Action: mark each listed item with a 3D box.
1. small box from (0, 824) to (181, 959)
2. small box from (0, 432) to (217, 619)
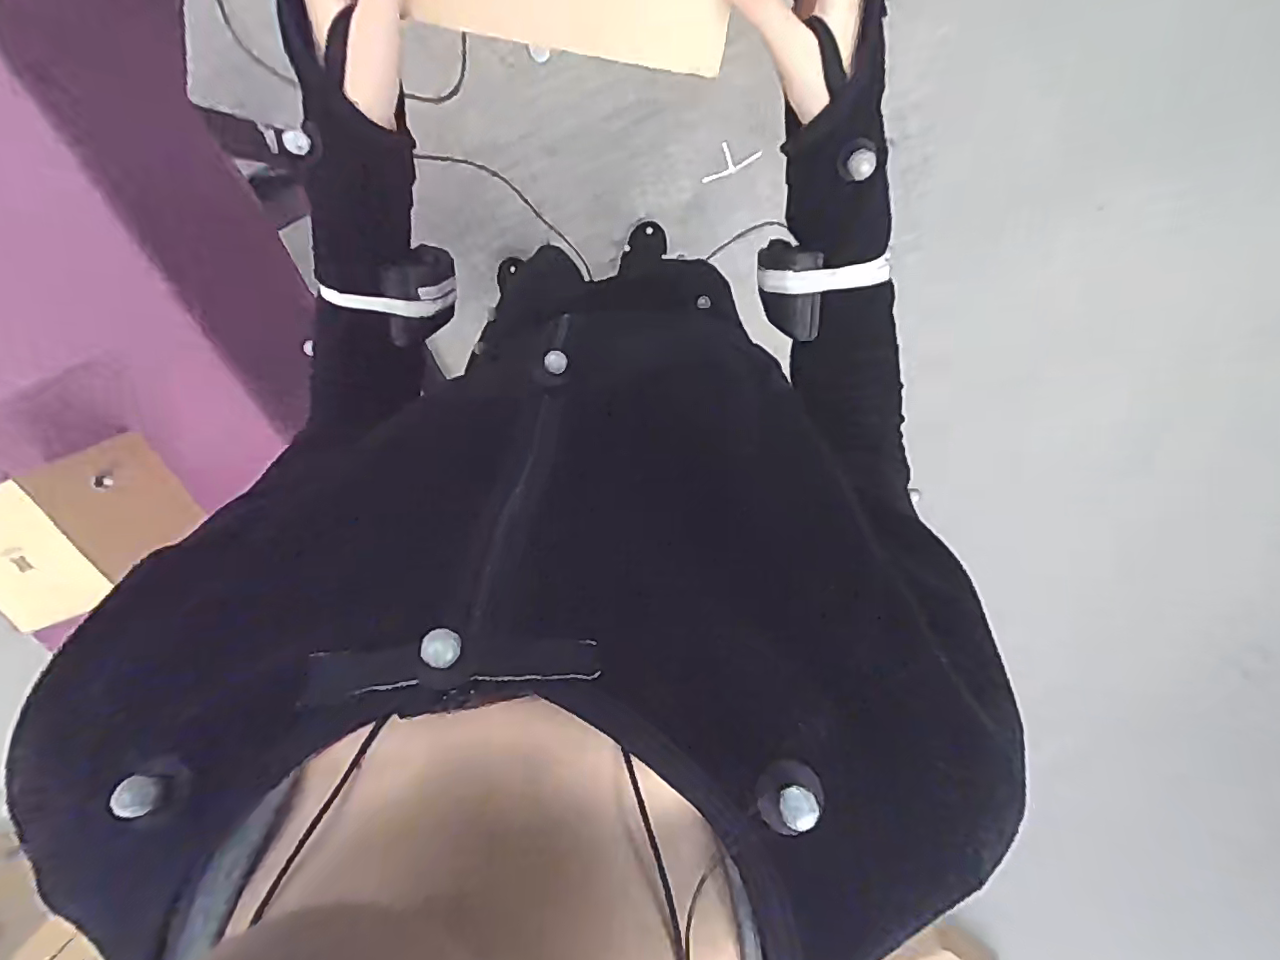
[{"bbox_3d":[-0.642,0.485,0.557,0.168,0.176,0.179,-3,114,3],"label":"small box"},{"bbox_3d":[-0.739,0.049,0.724,0.168,0.176,0.179,-18,113,9],"label":"small box"}]
